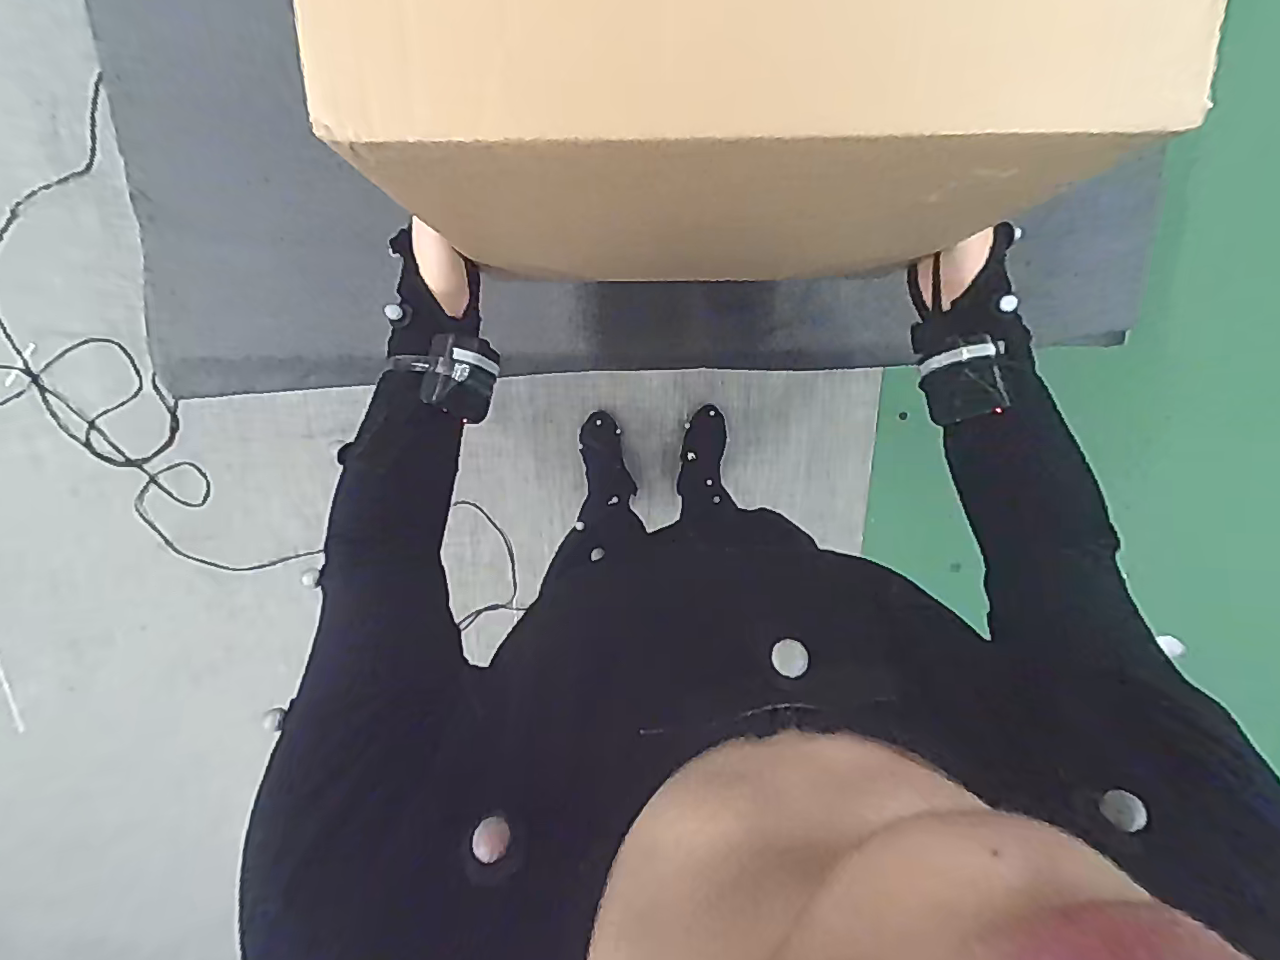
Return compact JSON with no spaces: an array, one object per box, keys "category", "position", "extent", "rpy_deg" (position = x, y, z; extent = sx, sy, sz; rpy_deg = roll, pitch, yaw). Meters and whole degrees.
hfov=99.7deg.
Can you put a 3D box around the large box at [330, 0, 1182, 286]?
[{"category":"large box","position":[0.049,-0.334,0.385],"extent":[0.408,0.320,0.320],"rpy_deg":[-1,99,-1]}]
